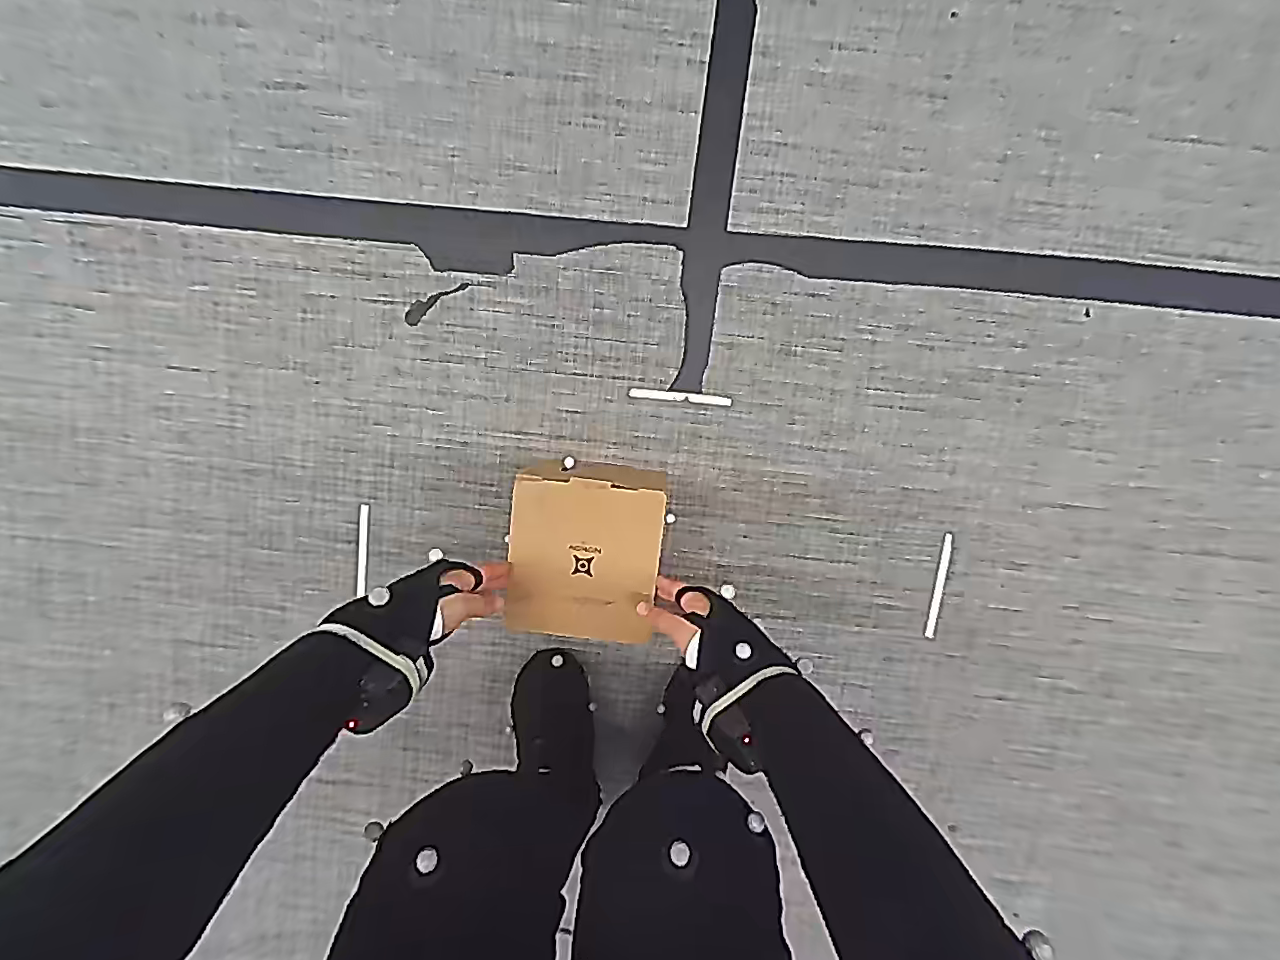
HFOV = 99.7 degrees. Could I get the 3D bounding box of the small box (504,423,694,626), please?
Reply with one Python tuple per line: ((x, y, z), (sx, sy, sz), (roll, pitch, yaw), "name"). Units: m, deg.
((-0.039, 0.034, 0.584), (0.168, 0.176, 0.179), (6, 99, 1), "small box")
